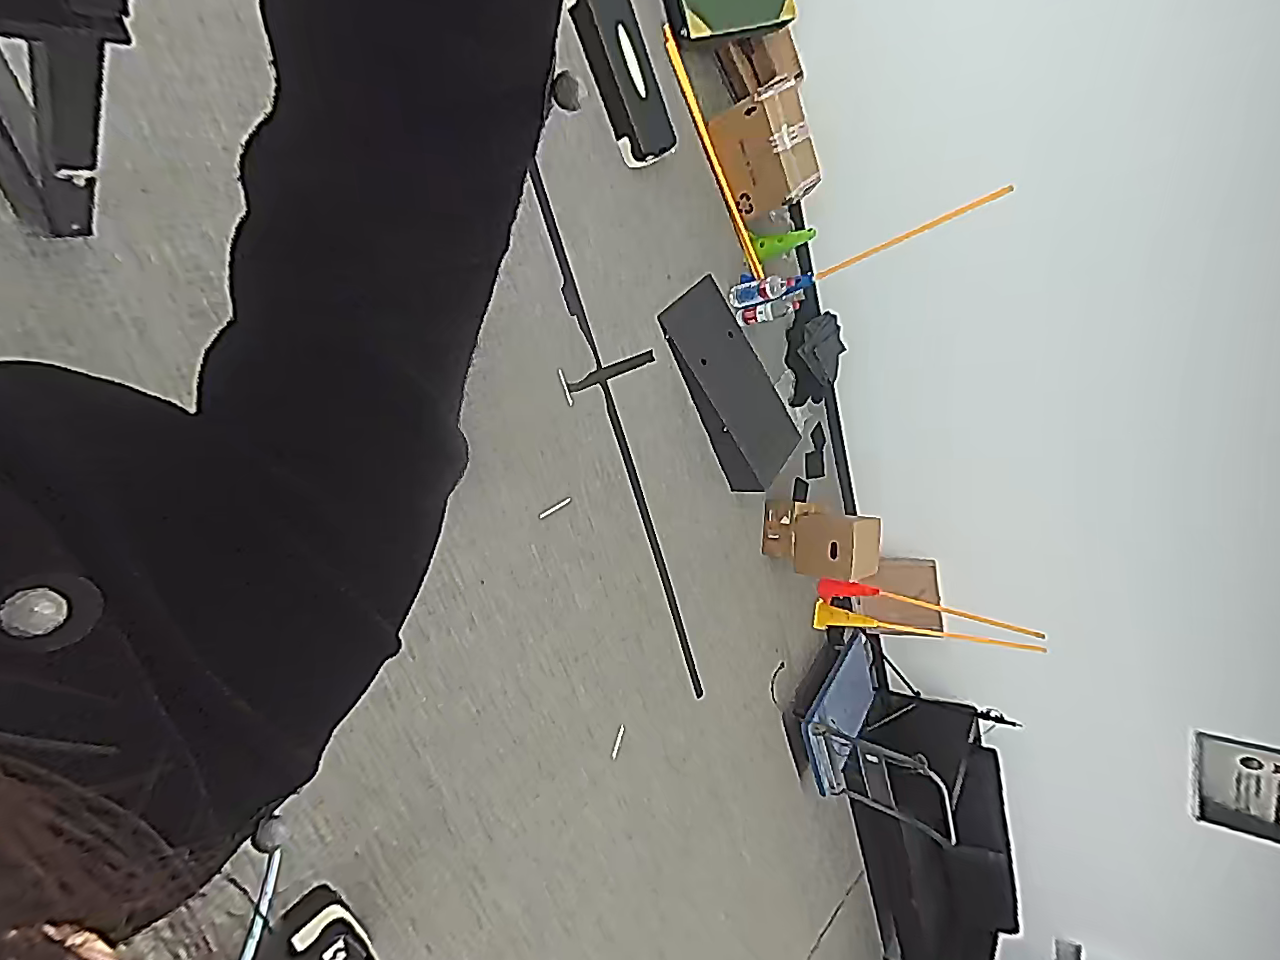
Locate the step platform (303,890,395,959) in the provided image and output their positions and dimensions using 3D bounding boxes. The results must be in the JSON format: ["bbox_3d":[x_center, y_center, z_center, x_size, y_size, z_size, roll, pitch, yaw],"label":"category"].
[{"bbox_3d":[-0.879,1.284,1.156,0.684,0.204,0.286,-26,108,-45],"label":"step platform"}]
